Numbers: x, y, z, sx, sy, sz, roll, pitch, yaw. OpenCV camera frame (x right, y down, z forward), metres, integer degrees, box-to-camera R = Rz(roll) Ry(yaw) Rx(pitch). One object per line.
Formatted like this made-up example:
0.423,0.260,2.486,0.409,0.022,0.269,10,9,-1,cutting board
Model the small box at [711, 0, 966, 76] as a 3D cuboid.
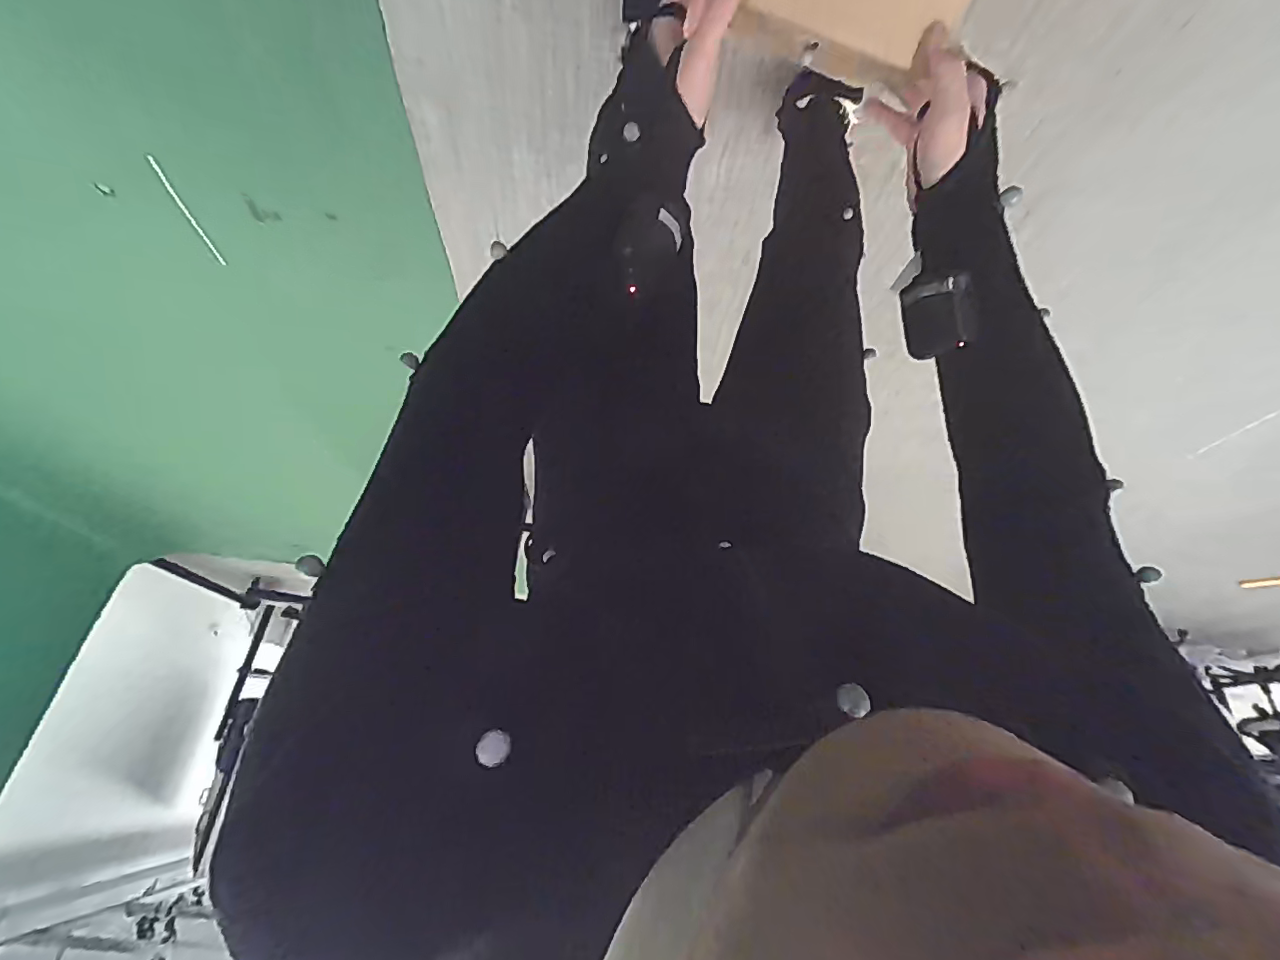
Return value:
0.166,-0.445,0.429,0.179,0.176,0.168,13,124,-9,small box
